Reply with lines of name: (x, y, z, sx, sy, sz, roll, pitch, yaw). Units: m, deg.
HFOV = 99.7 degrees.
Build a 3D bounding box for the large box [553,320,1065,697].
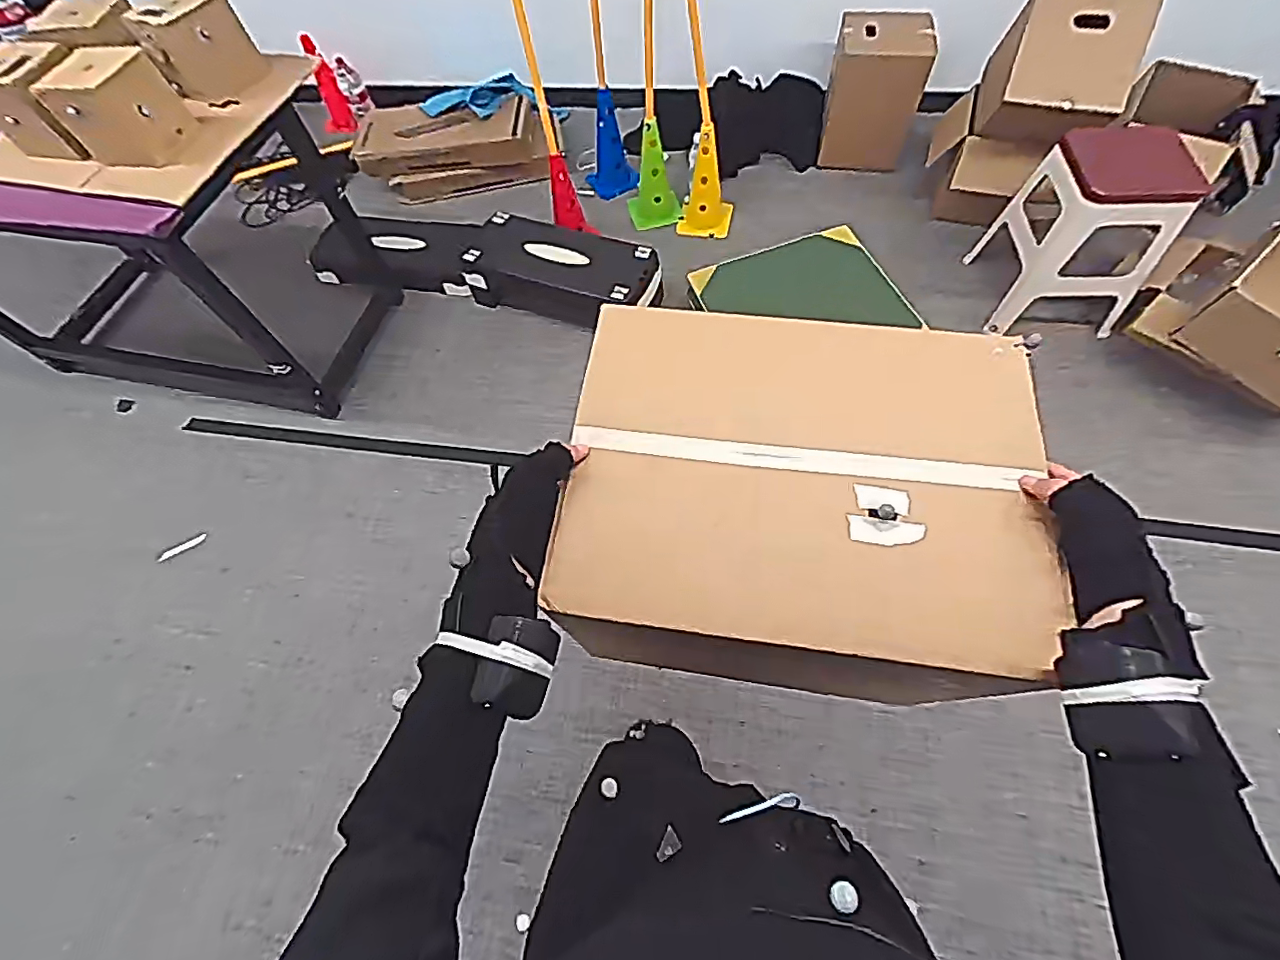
large box: (0.146, 0.052, 0.616, 0.408, 0.320, 0.320, 7, 67, 5)
